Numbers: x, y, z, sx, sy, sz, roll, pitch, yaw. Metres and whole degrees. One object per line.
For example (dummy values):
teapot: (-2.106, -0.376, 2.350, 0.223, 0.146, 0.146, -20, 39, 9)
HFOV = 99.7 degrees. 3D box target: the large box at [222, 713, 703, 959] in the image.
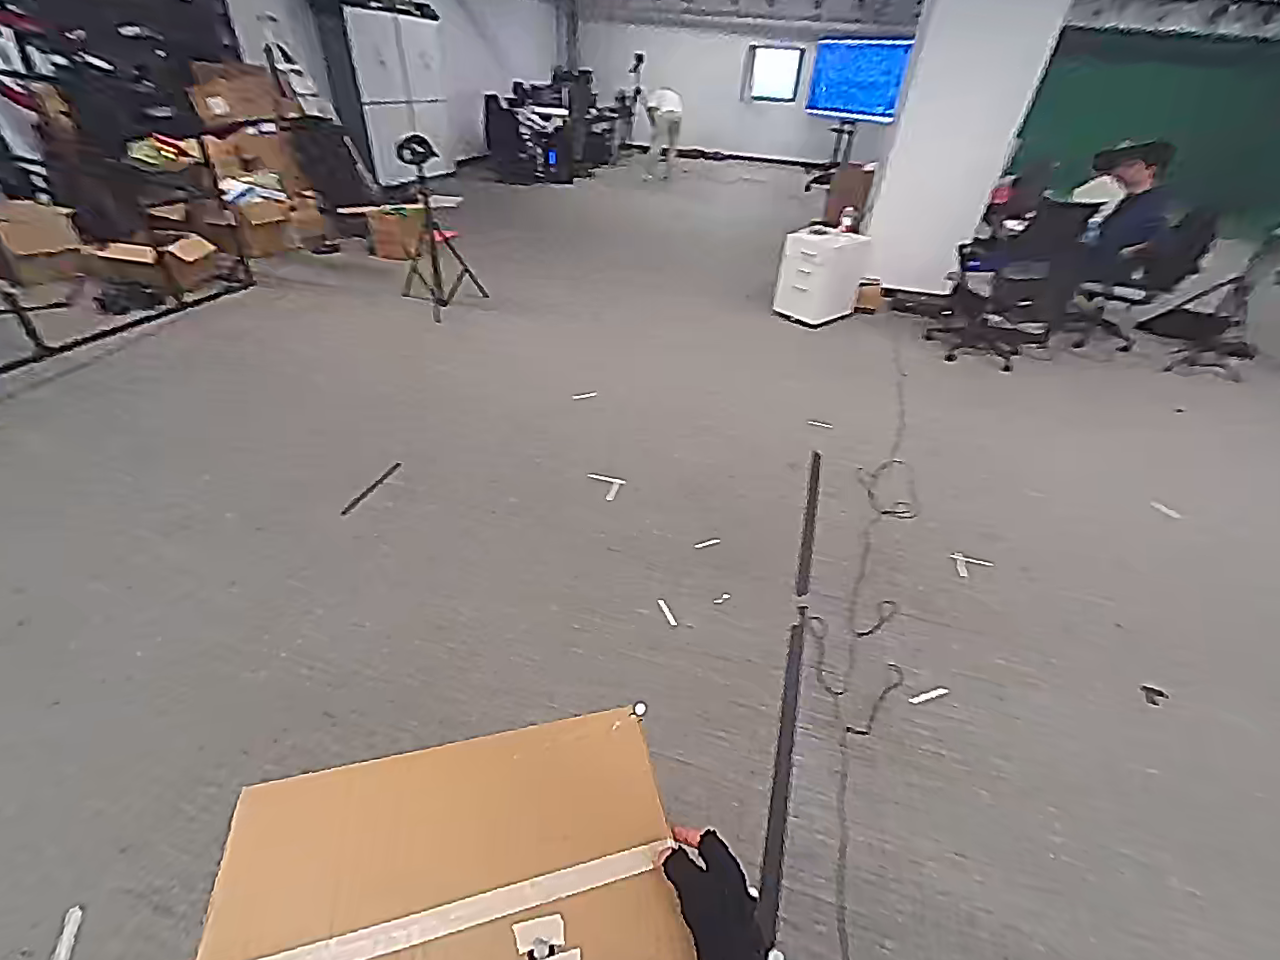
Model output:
large box: (-0.172, 0.509, 0.580, 0.408, 0.320, 0.320, -4, 40, -15)
